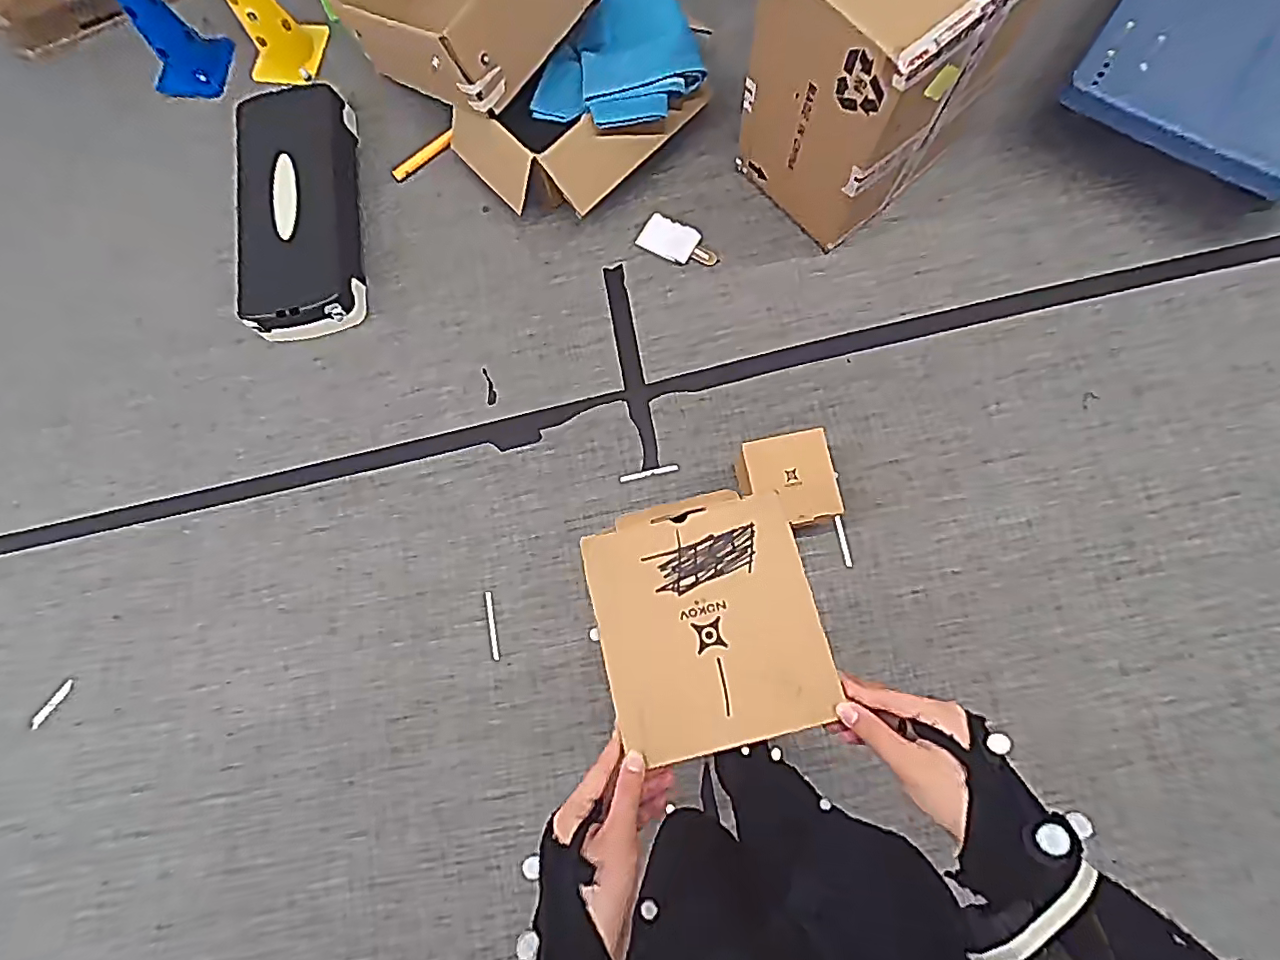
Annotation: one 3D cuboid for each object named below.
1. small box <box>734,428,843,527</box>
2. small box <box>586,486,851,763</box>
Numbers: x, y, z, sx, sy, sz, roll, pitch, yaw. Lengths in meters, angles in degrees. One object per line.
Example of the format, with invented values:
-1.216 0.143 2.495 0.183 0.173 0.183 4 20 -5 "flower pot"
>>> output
0.299 0.009 1.127 0.168 0.176 0.179 -11 79 2 "small box"
0.056 0.124 0.479 0.168 0.176 0.179 -13 74 0 "small box"
